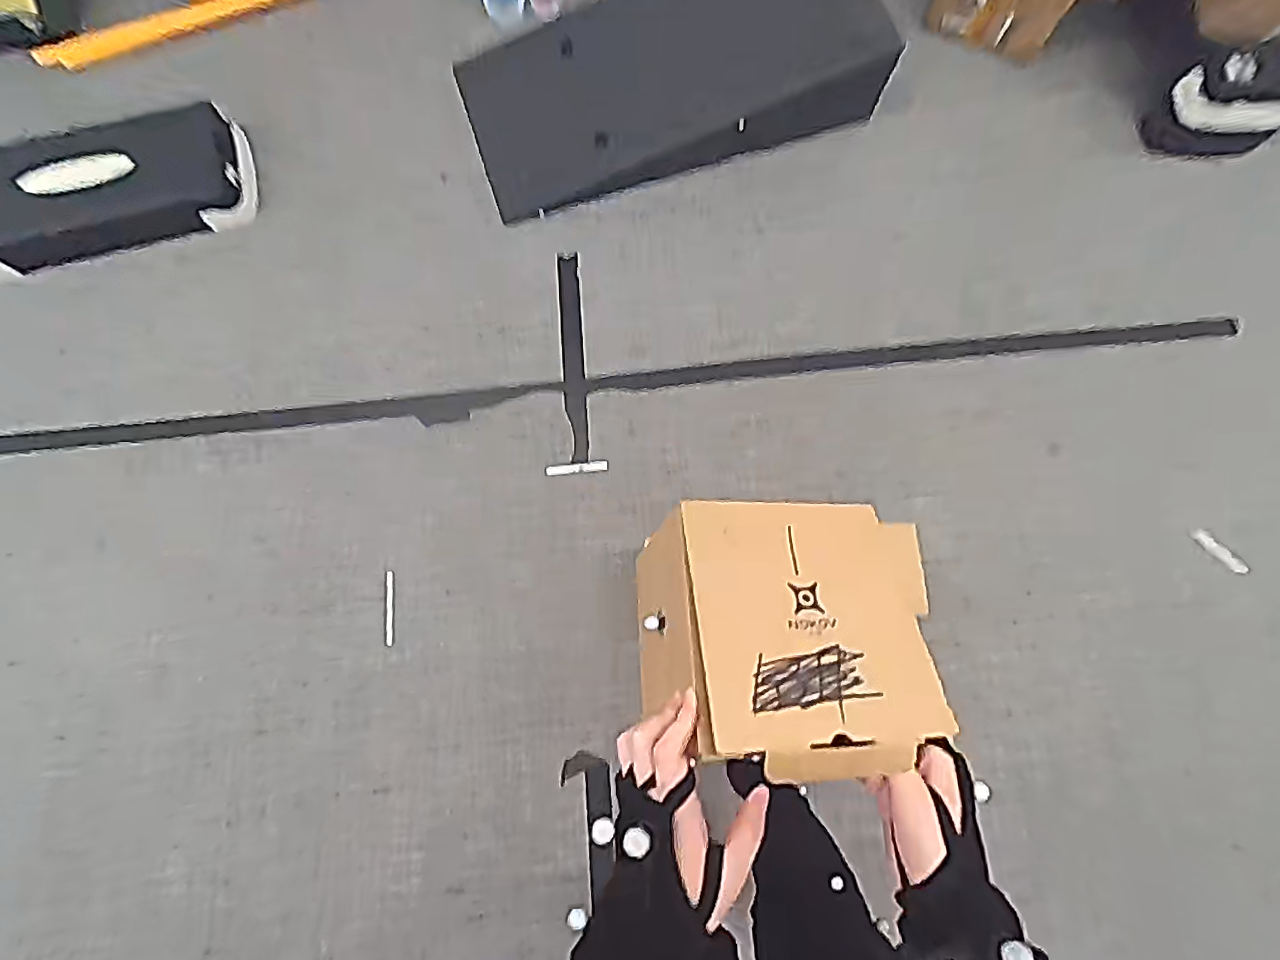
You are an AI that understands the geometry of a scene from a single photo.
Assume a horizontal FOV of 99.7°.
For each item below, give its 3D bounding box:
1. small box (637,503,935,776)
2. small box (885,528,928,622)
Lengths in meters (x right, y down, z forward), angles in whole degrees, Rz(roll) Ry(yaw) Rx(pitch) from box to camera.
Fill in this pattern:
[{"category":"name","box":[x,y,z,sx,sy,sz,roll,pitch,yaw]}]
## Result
[{"category":"small box","box":[0.094,0.130,0.441,0.168,0.176,0.179,2,66,-12]},{"category":"small box","box":[0.444,0.195,1.087,0.168,0.176,0.179,-3,78,-1]}]
